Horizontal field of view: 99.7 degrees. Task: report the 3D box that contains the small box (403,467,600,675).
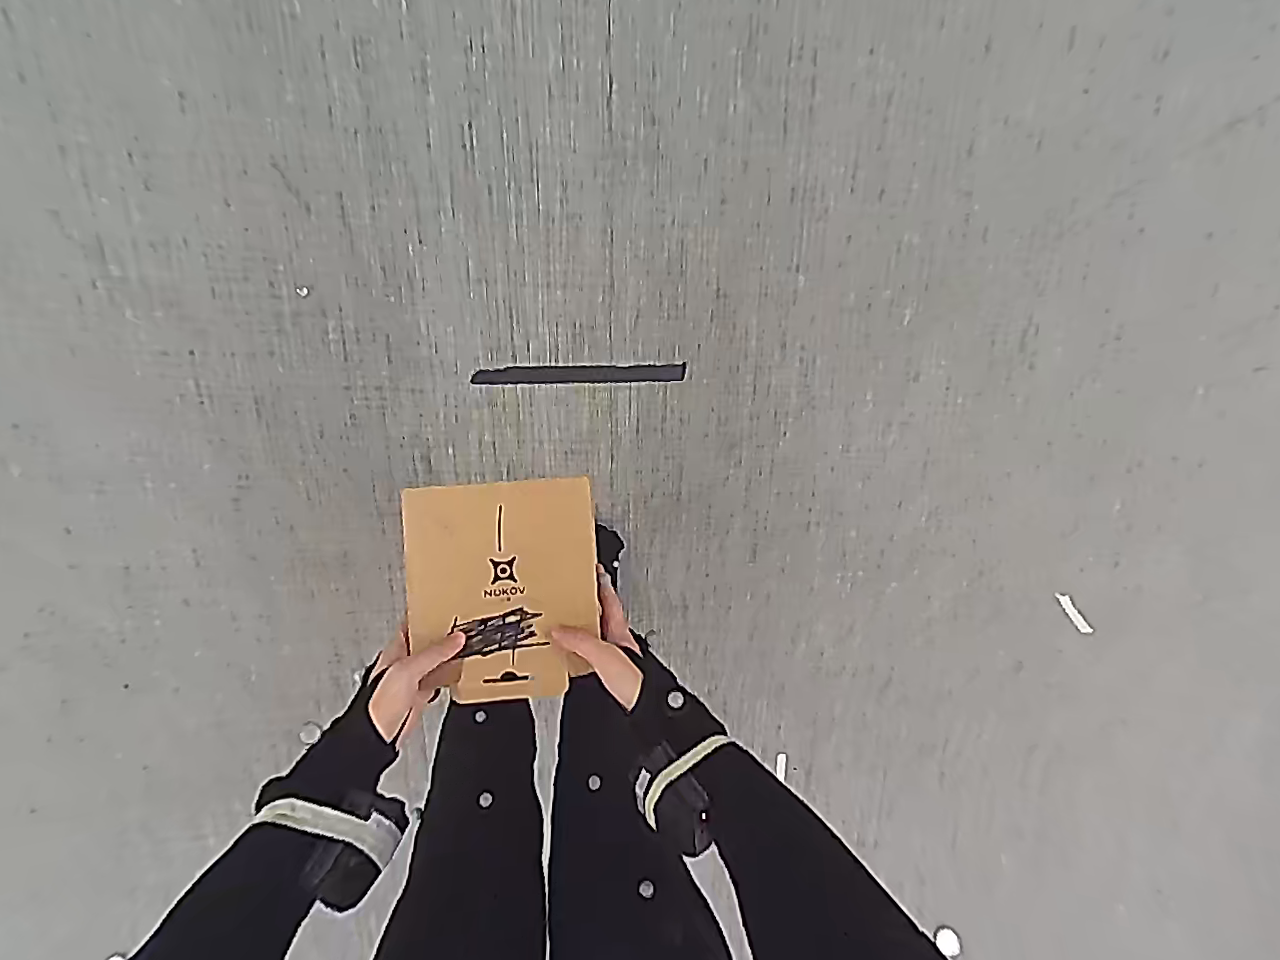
[{"bbox_3d":[-0.128,0.082,0.560,0.168,0.176,0.179,-5,88,-5],"label":"small box"}]
